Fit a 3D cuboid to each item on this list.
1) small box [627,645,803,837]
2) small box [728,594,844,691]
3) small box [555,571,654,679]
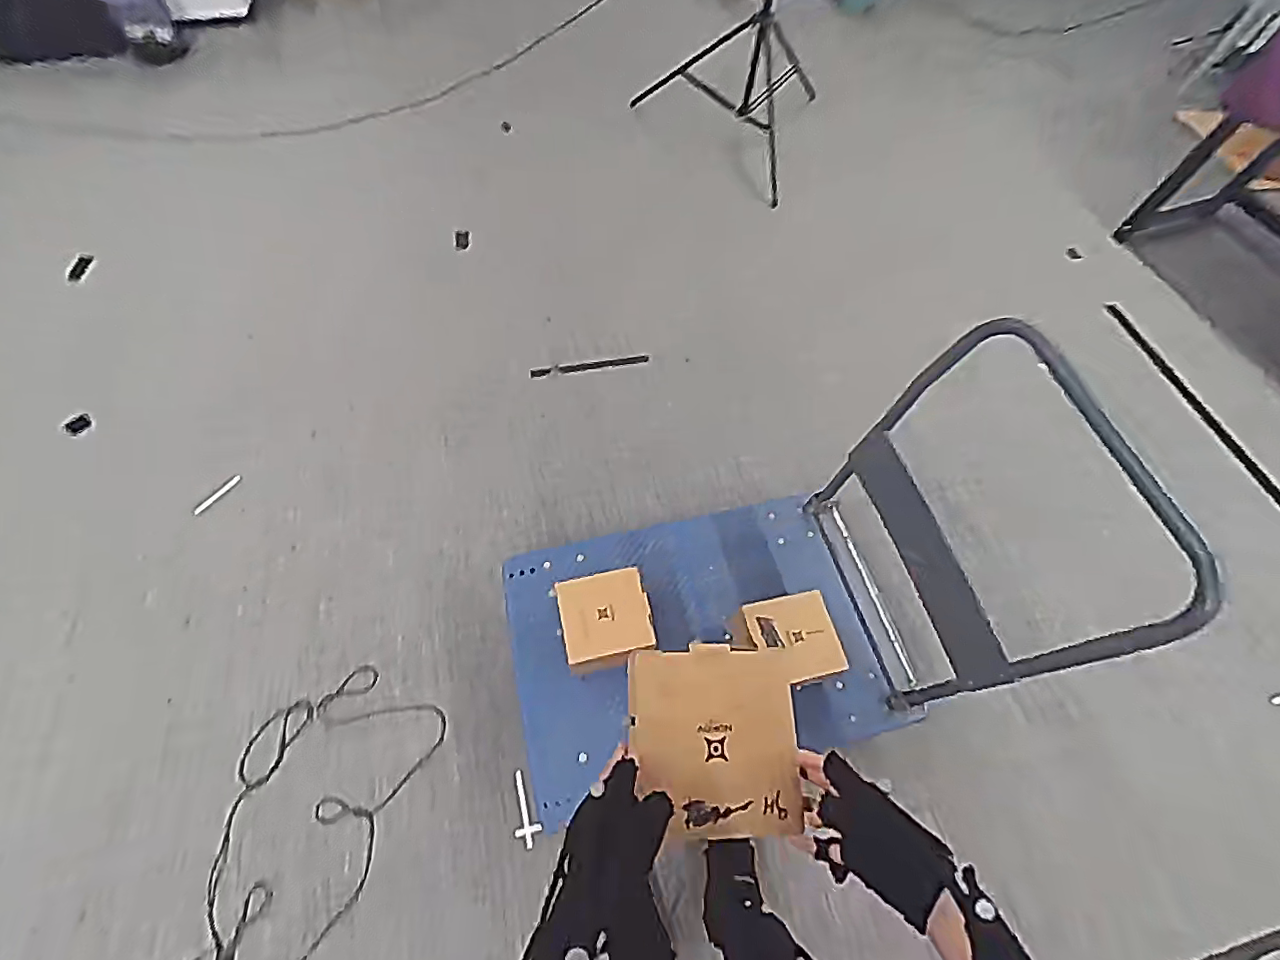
[{"bbox_3d":[0.070,0.286,0.617,0.168,0.176,0.179,1,70,-3],"label":"small box"},{"bbox_3d":[0.297,0.359,1.152,0.179,0.176,0.168,-9,62,-9],"label":"small box"},{"bbox_3d":[-0.079,0.312,1.152,0.179,0.176,0.168,-11,62,-9],"label":"small box"}]
